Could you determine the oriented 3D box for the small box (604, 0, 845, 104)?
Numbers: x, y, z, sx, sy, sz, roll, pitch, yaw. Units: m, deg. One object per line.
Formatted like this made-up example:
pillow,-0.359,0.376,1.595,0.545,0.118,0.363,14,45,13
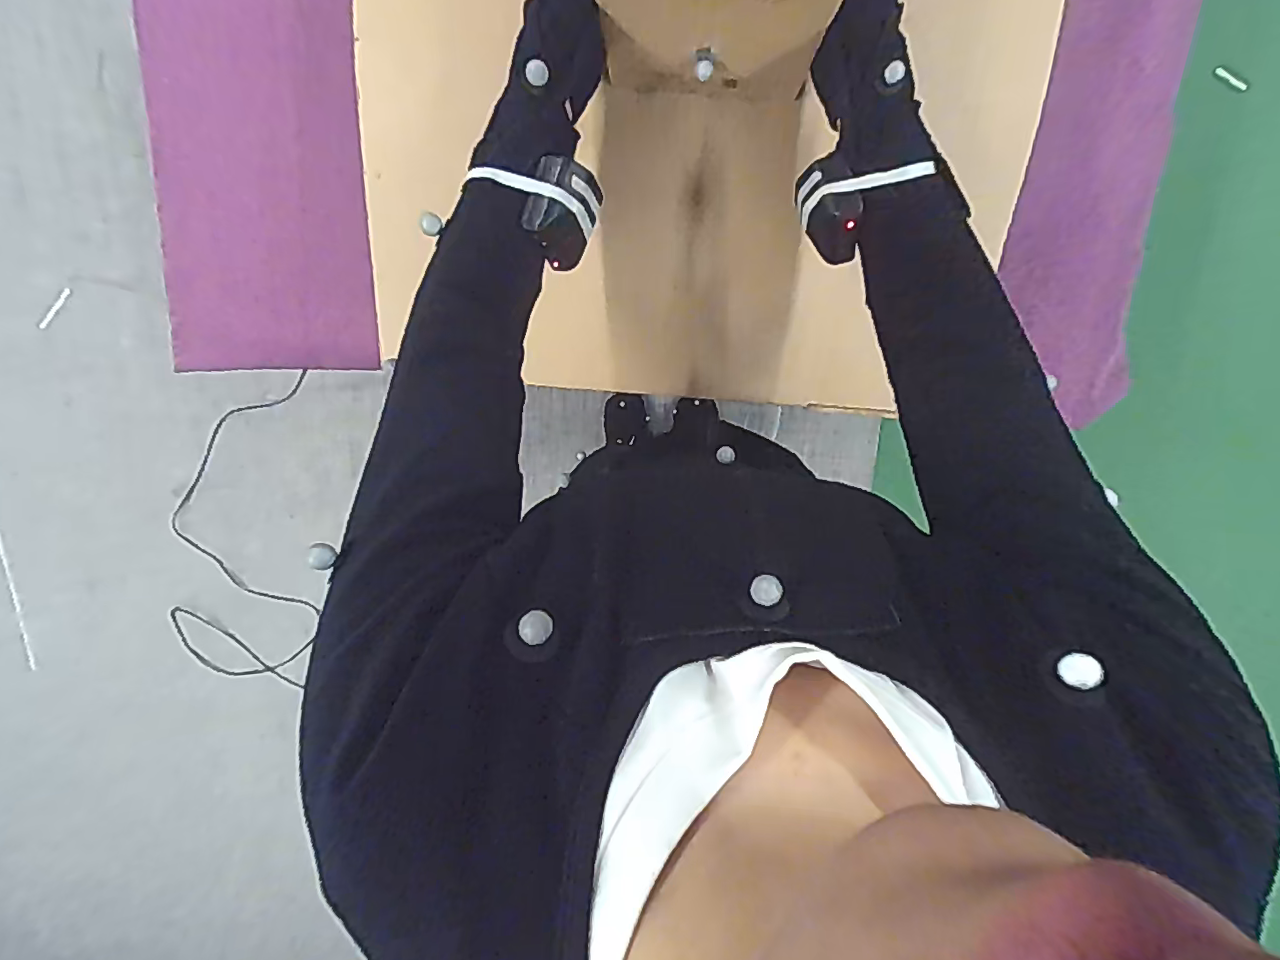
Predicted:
small box,0.061,-0.408,0.379,0.168,0.176,0.179,6,101,1
